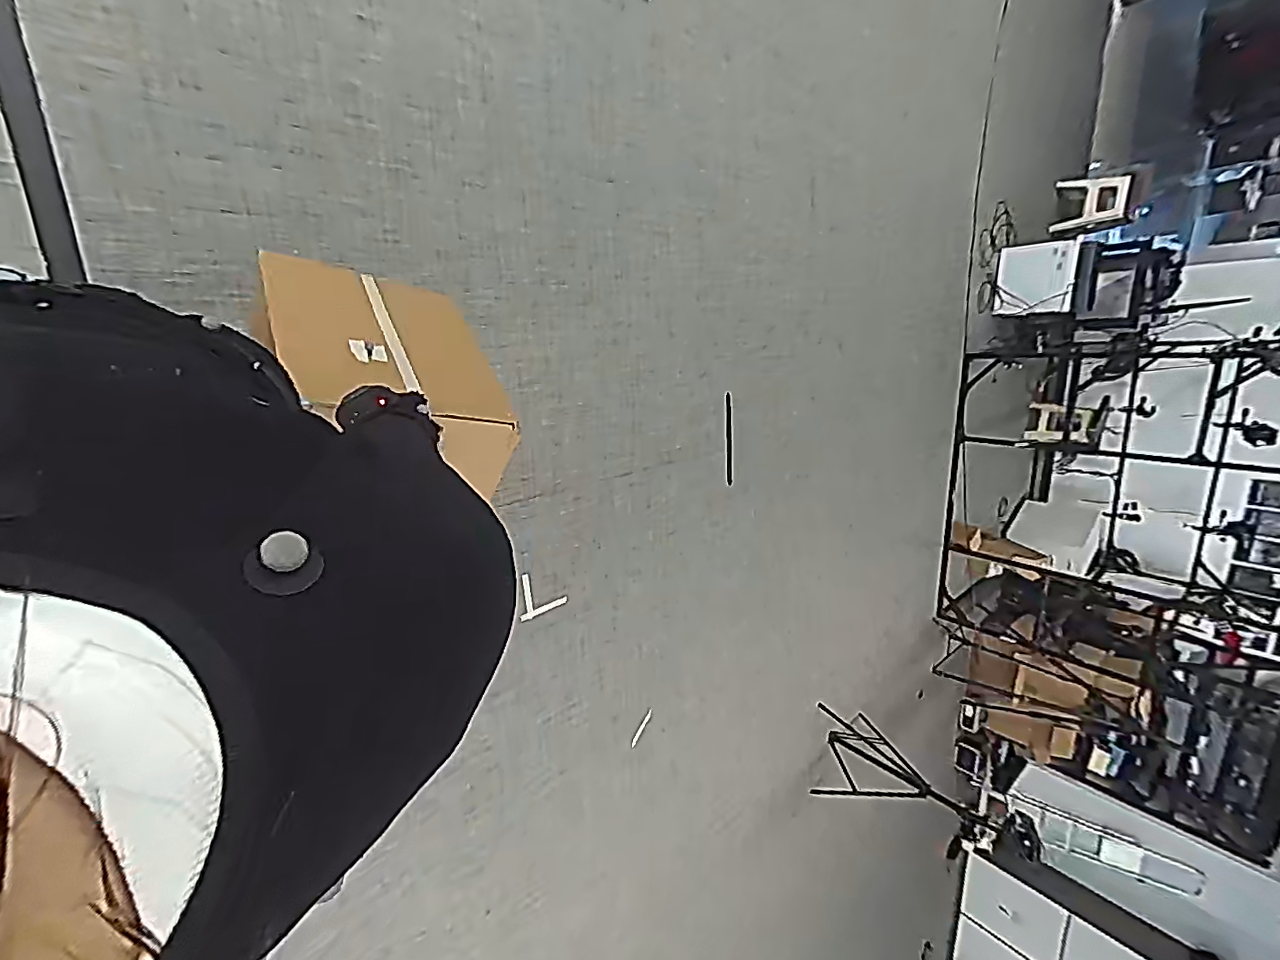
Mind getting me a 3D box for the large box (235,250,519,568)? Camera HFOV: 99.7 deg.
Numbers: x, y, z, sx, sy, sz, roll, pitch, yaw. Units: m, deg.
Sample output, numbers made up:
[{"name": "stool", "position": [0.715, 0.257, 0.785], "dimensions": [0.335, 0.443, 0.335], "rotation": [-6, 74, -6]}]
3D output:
[{"name": "large box", "position": [-0.465, -0.111, 0.914], "dimensions": [0.320, 0.408, 0.320], "rotation": [1, 134, -42]}]
